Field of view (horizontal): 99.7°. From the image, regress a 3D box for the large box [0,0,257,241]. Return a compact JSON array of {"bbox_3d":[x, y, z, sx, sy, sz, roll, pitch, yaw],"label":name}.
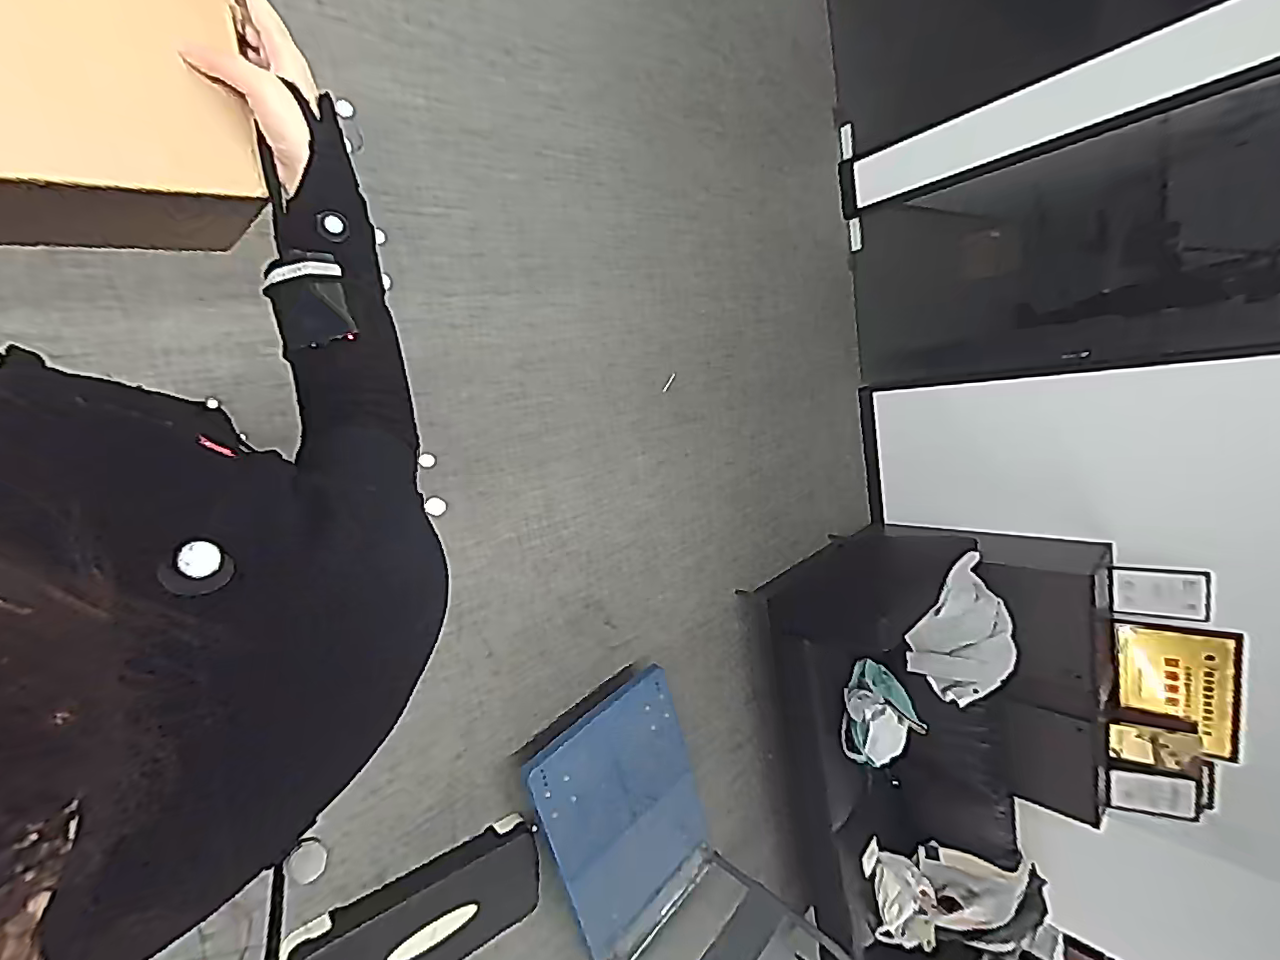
[{"bbox_3d":[-0.550,-0.346,0.364,0.408,0.320,0.320,-17,111,-37],"label":"large box"}]
